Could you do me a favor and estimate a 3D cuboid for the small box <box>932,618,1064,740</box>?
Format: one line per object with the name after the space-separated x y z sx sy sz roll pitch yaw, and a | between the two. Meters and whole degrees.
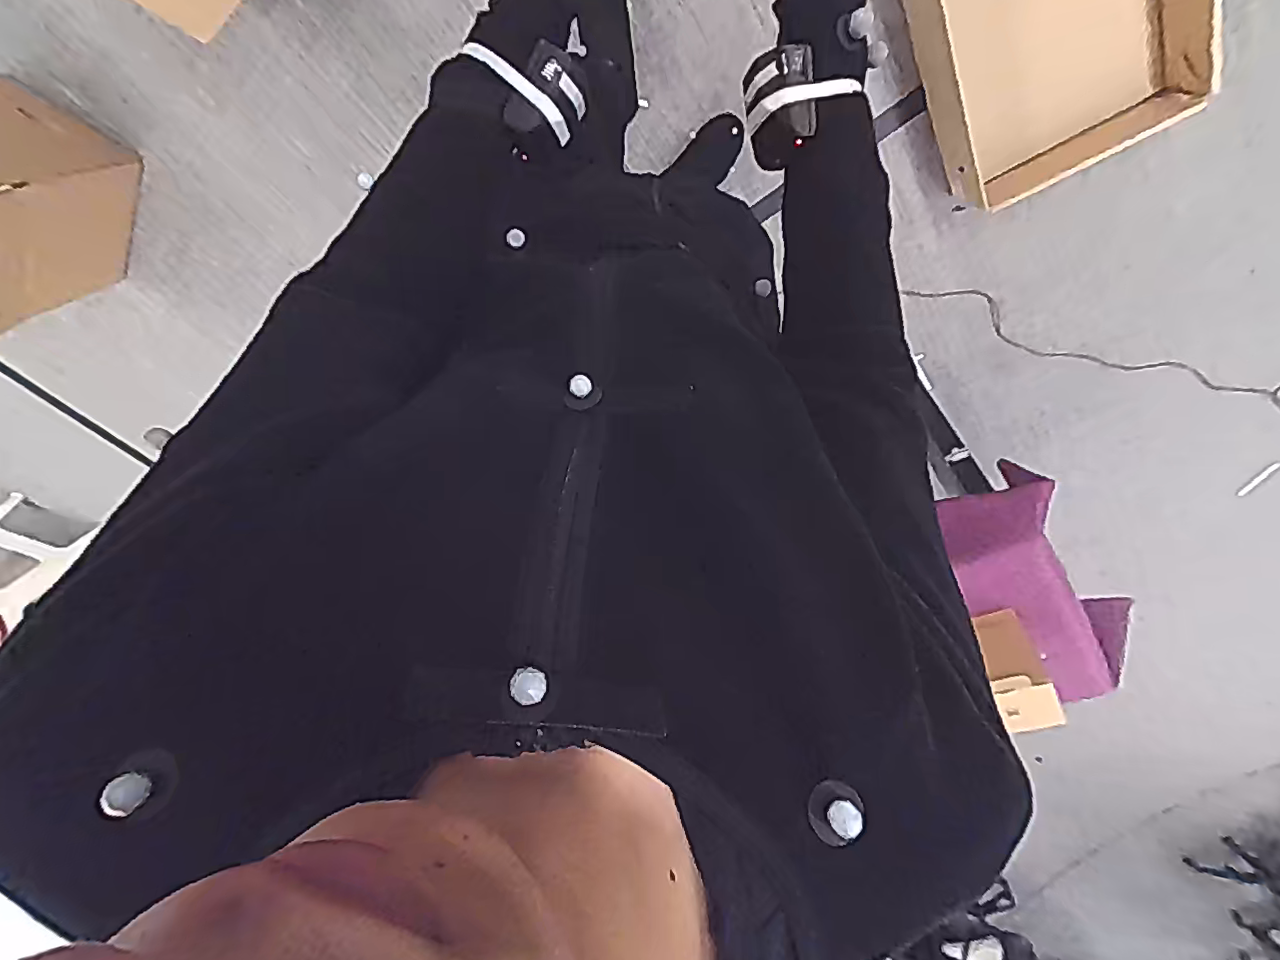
0.736 0.406 1.124 0.168 0.176 0.179 -24 123 24 | small box
